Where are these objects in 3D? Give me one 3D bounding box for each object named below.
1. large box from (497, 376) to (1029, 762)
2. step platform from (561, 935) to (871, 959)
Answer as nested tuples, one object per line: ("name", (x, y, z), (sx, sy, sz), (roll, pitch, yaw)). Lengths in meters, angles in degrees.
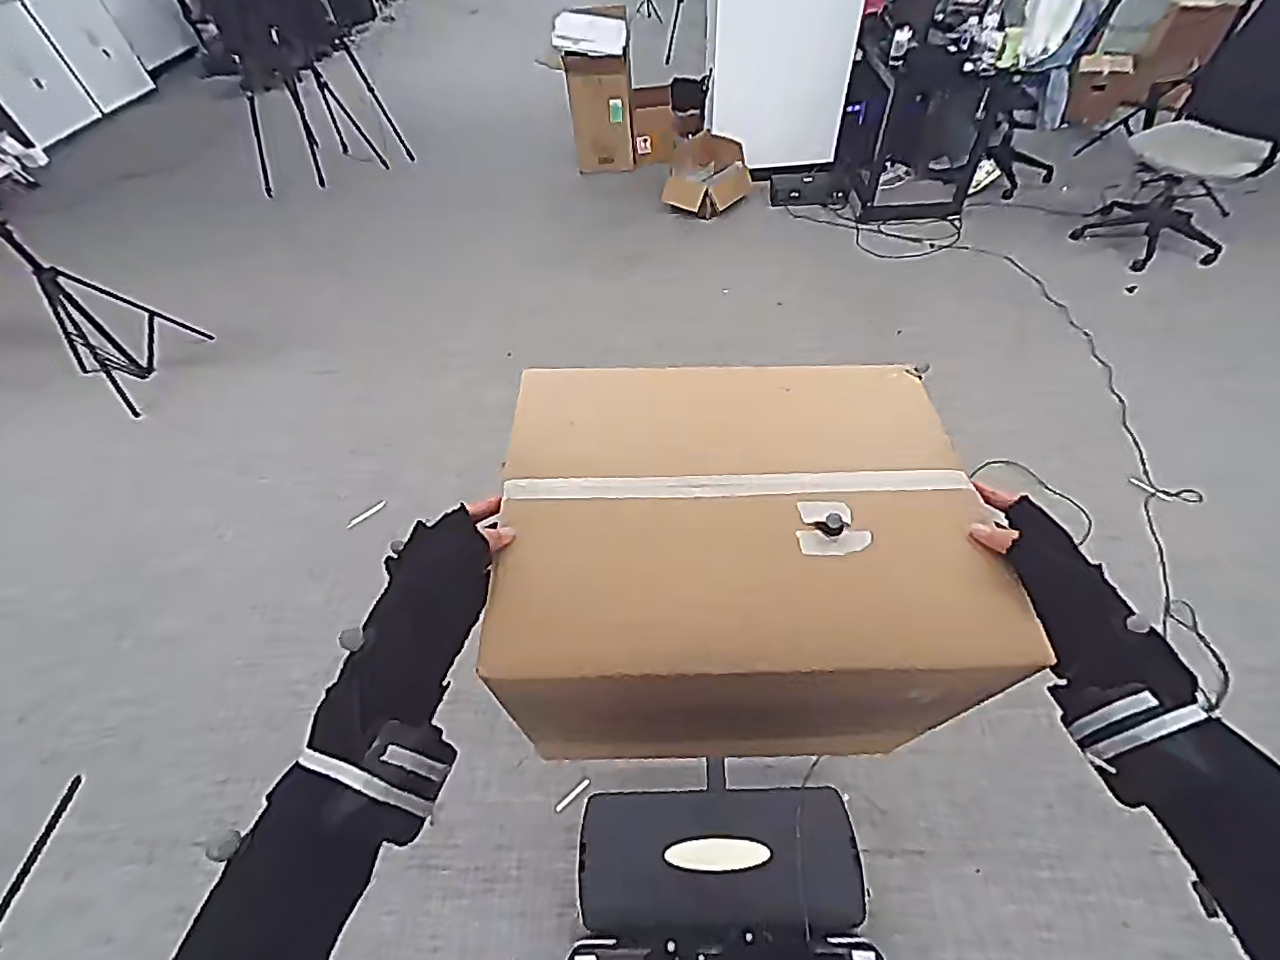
("large box", (0.084, 0.106, 0.600), (0.408, 0.320, 0.320), (-1, 53, -2))
("step platform", (0.158, 1.123, 1.102), (0.684, 0.204, 0.286), (-4, 51, 3))
